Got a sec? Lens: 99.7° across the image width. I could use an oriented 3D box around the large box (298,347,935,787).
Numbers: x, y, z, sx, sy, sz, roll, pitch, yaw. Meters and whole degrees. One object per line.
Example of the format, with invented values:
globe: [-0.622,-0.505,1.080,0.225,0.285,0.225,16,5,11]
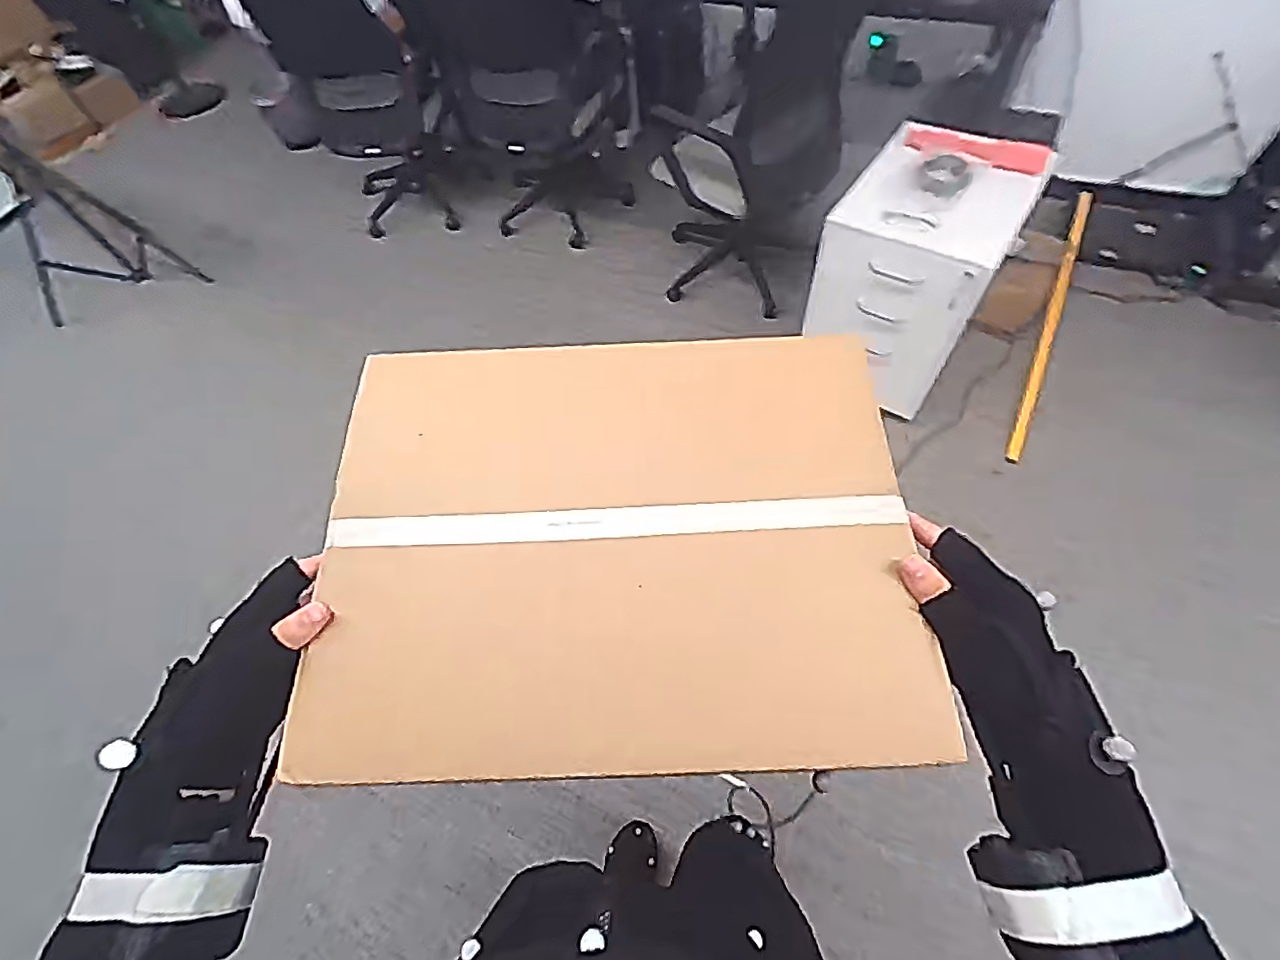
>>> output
large box: [-0.017,0.097,0.528,0.408,0.320,0.320,-2,65,0]
